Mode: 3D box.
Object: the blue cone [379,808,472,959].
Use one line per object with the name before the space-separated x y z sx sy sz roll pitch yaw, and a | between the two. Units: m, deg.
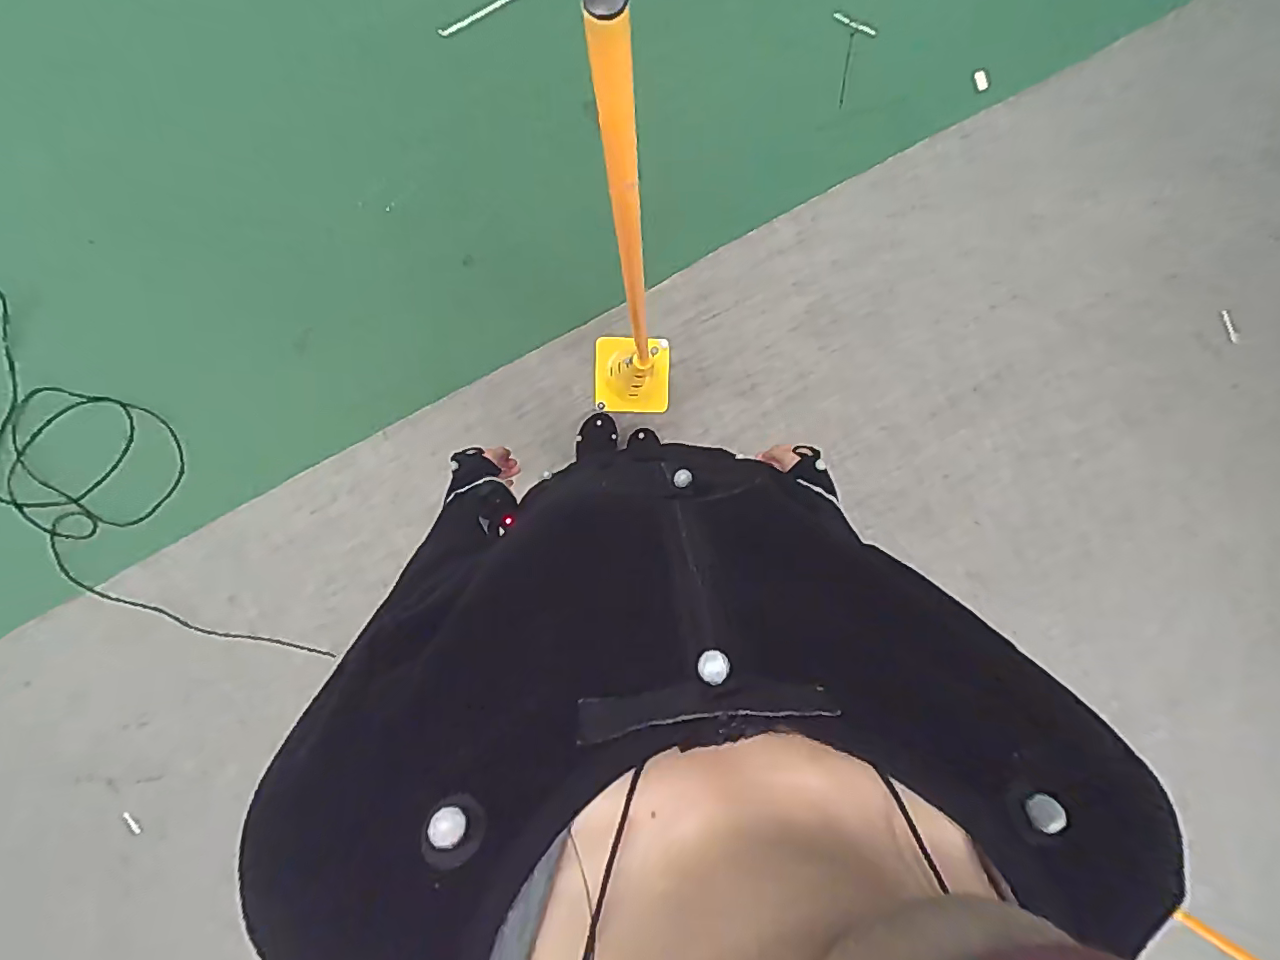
blue cone | -0.571 1.056 1.379 0.192 0.380 0.193 16 97 -7
